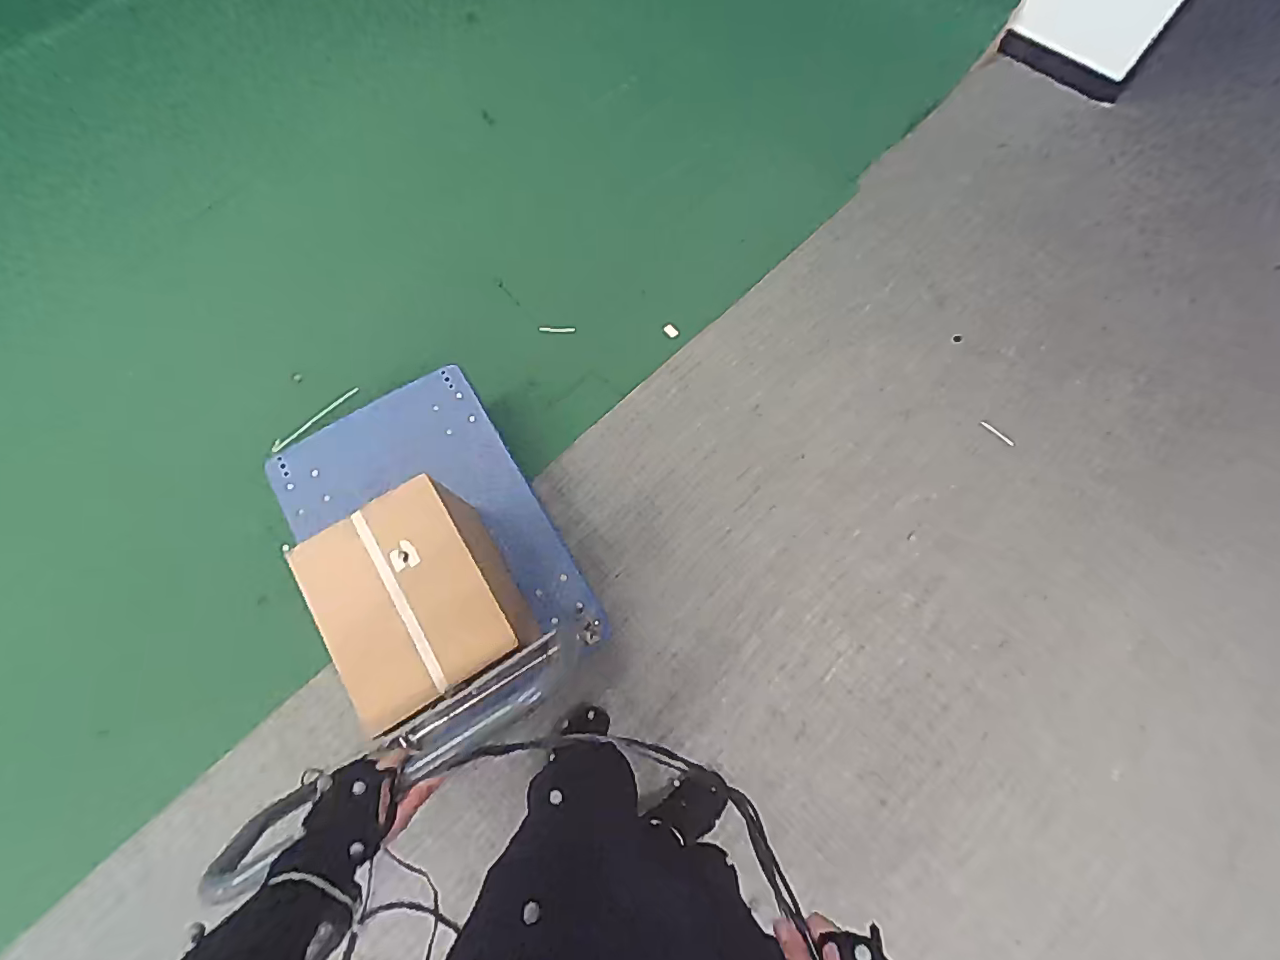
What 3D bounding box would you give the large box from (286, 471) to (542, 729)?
[{"bbox_3d":[-0.466,0.257,1.187,0.320,0.320,0.408,-31,77,-9],"label":"large box"}]
